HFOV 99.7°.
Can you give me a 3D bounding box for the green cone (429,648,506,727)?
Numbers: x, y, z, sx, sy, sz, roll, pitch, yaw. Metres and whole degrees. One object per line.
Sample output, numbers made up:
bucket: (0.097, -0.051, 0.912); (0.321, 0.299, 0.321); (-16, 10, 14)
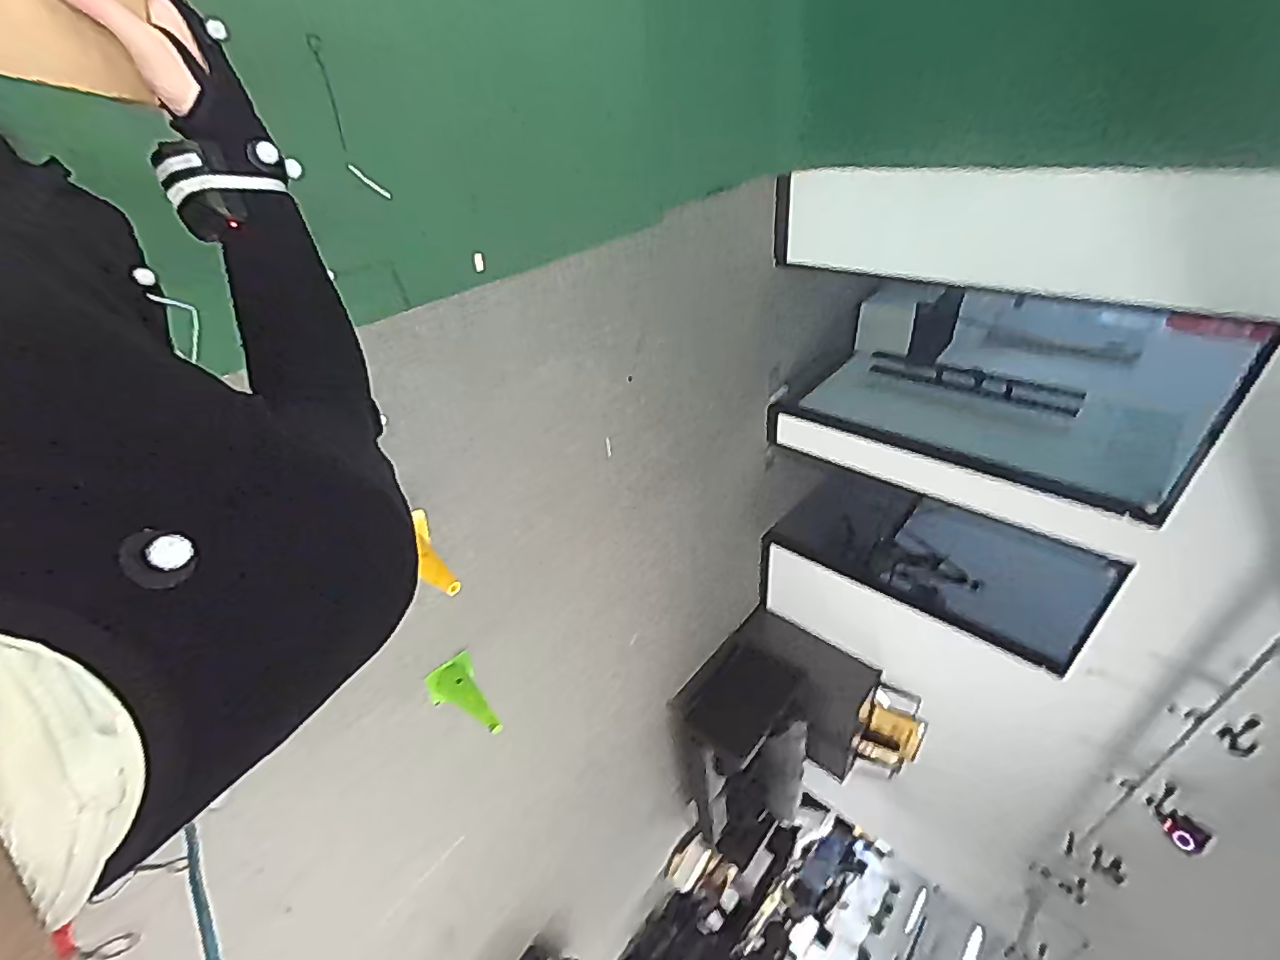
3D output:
green cone: (-0.669, 0.894, 2.220); (0.200, 0.368, 0.202); (-32, 132, -38)
